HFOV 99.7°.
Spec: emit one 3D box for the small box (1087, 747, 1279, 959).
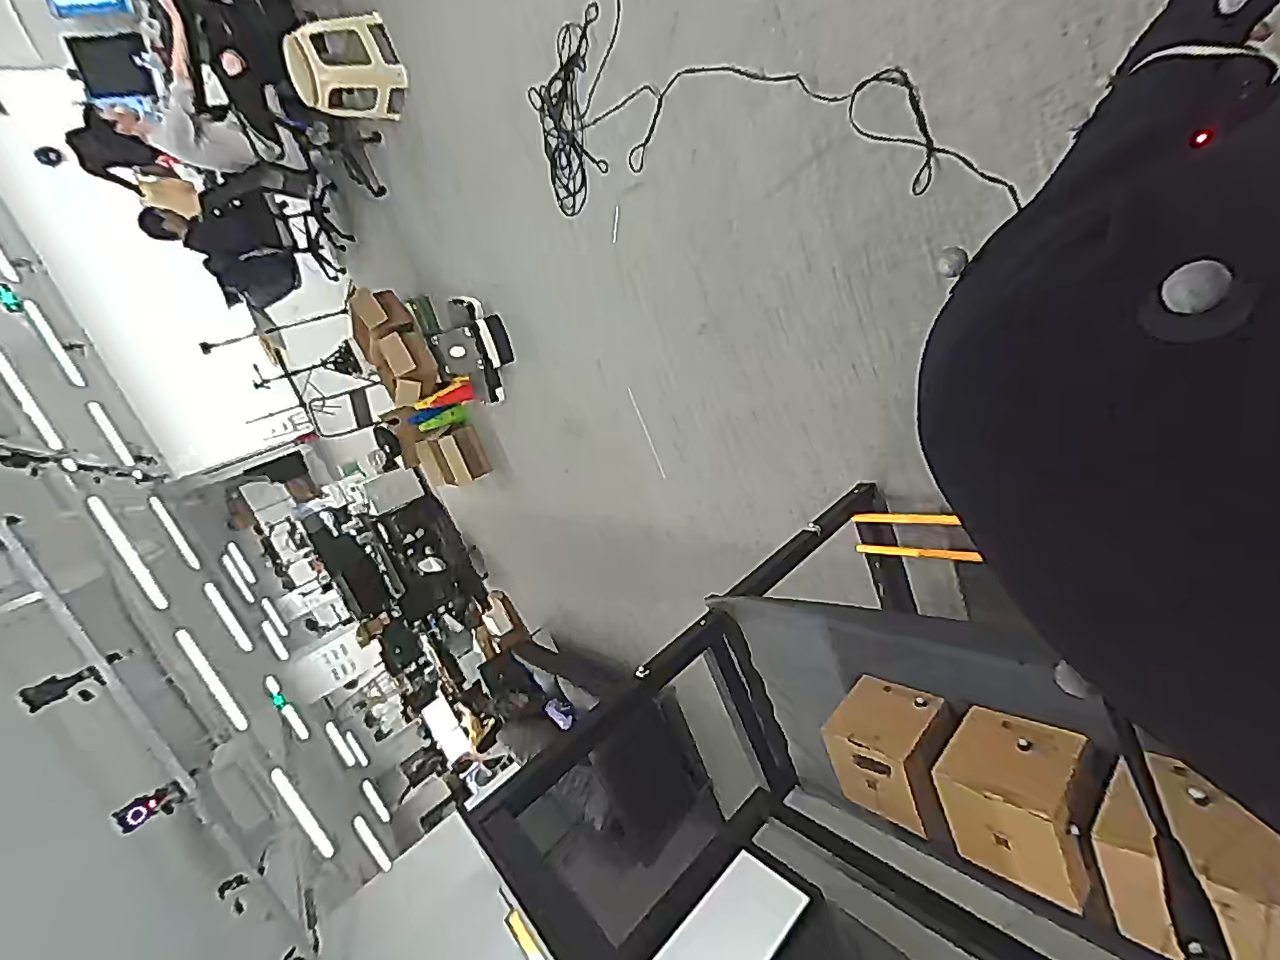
[{"bbox_3d":[0.704,0.482,0.677,0.168,0.176,0.179,-7,110,55],"label":"small box"}]
